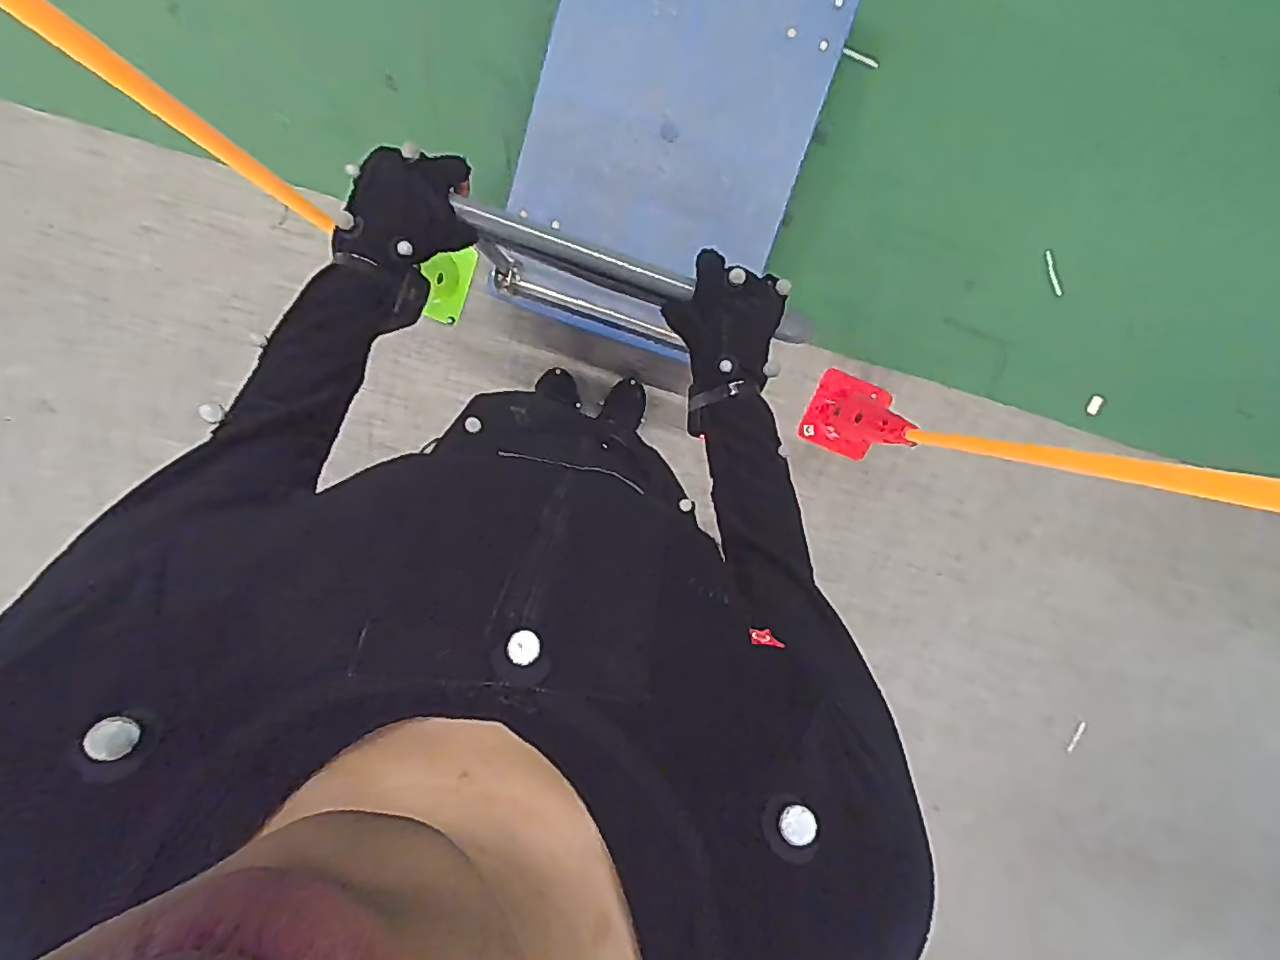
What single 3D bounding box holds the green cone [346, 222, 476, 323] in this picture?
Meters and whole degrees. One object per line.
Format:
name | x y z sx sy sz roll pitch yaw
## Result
green cone | -0.529 -0.484 1.189 0.202 0.368 0.200 21 101 -5
